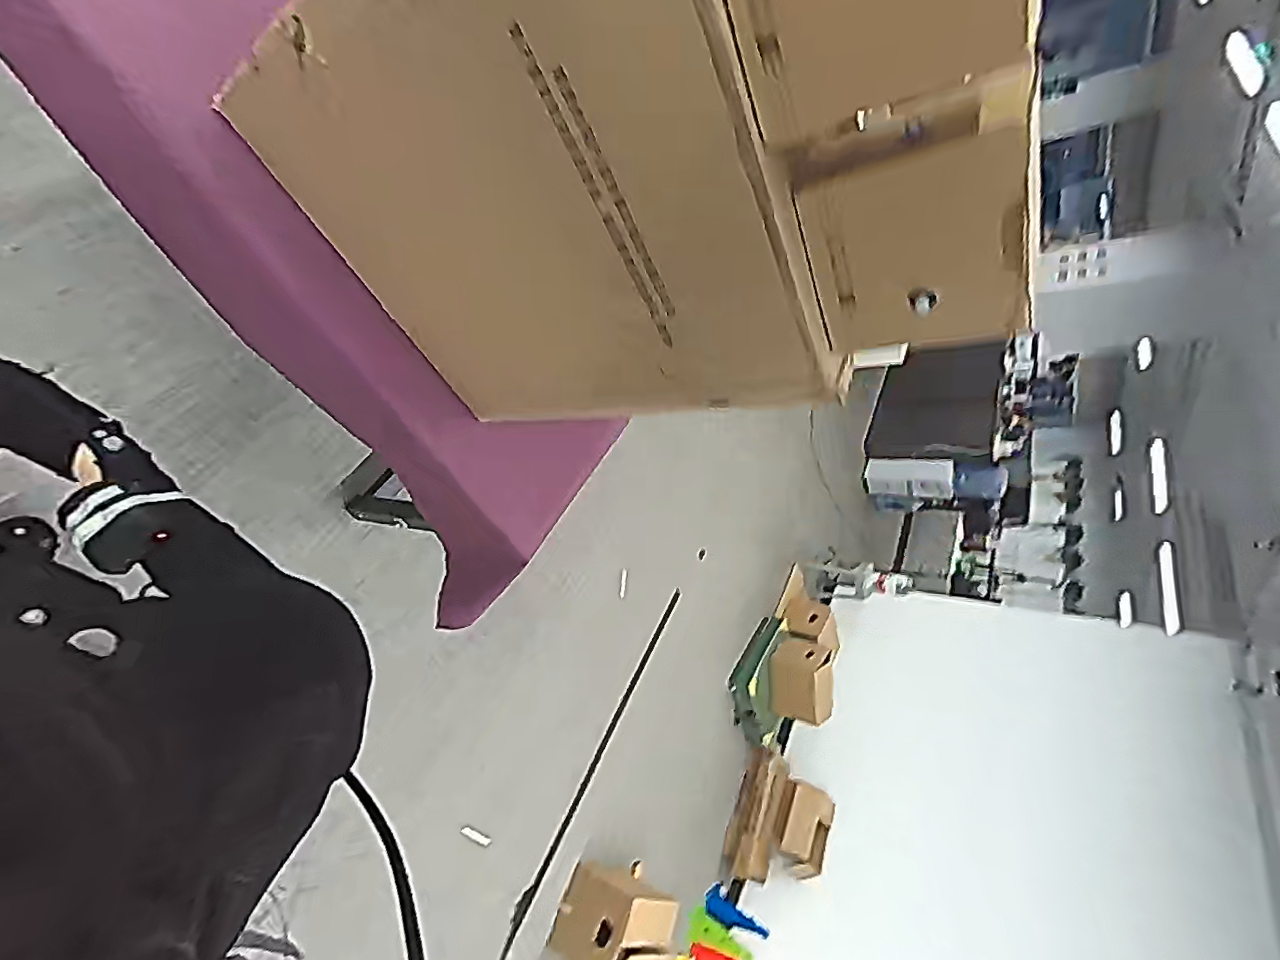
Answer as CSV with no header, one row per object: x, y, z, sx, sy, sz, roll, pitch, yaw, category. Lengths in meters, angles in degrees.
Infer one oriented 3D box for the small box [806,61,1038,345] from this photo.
0.266,-0.244,0.506,0.179,0.176,0.168,-57,134,-36,small box

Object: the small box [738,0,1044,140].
0.169,-0.368,0.363,0.168,0.176,0.179,59,47,-38,small box
